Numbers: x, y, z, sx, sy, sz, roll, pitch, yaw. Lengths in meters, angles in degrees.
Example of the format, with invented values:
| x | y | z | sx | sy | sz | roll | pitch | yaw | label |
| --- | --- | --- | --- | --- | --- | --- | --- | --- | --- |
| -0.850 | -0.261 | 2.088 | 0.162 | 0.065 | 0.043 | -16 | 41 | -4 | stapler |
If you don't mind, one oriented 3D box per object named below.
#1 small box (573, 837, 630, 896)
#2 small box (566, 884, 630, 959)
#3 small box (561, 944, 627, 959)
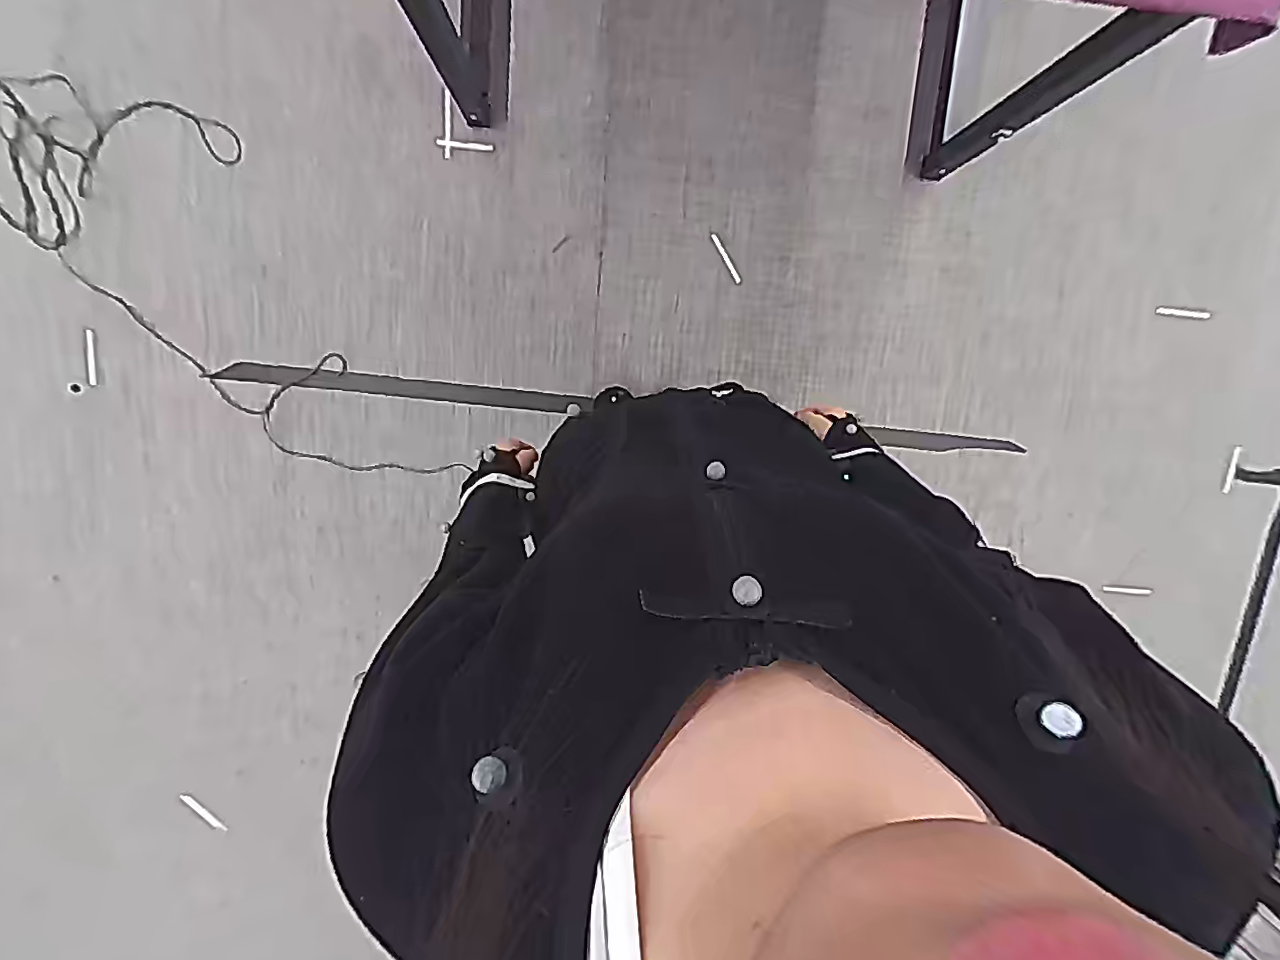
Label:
| x | y | z | sx | sy | sz | roll | pitch | yaw | label |
| --- | --- | --- | --- | --- | --- | --- | --- | --- | --- |
| -0.117 | 1.213 | 1.628 | 0.168 | 0.176 | 0.179 | 1 | 101 | -3 | small box |
| -0.110 | 1.246 | 1.467 | 0.168 | 0.176 | 0.179 | -1 | 101 | -3 | small box |
| -0.113 | 1.275 | 1.305 | 0.168 | 0.176 | 0.179 | -1 | 100 | -2 | small box |
